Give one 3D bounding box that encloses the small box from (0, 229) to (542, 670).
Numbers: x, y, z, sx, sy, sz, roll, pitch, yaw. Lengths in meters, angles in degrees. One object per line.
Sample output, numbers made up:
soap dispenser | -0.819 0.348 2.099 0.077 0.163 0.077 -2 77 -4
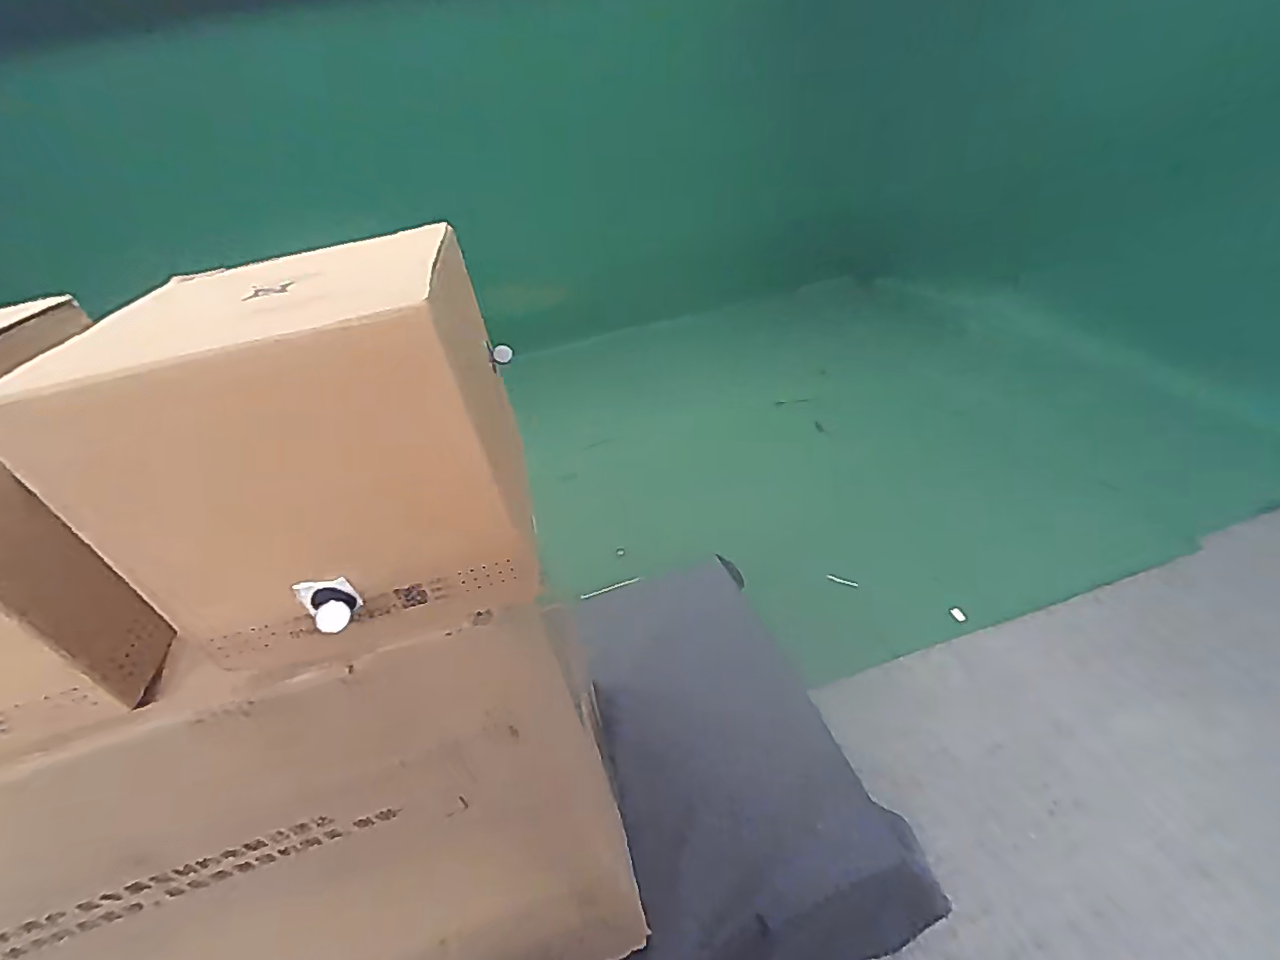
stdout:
small box | -0.163 -0.026 0.315 0.168 0.176 0.179 -16 38 -6
